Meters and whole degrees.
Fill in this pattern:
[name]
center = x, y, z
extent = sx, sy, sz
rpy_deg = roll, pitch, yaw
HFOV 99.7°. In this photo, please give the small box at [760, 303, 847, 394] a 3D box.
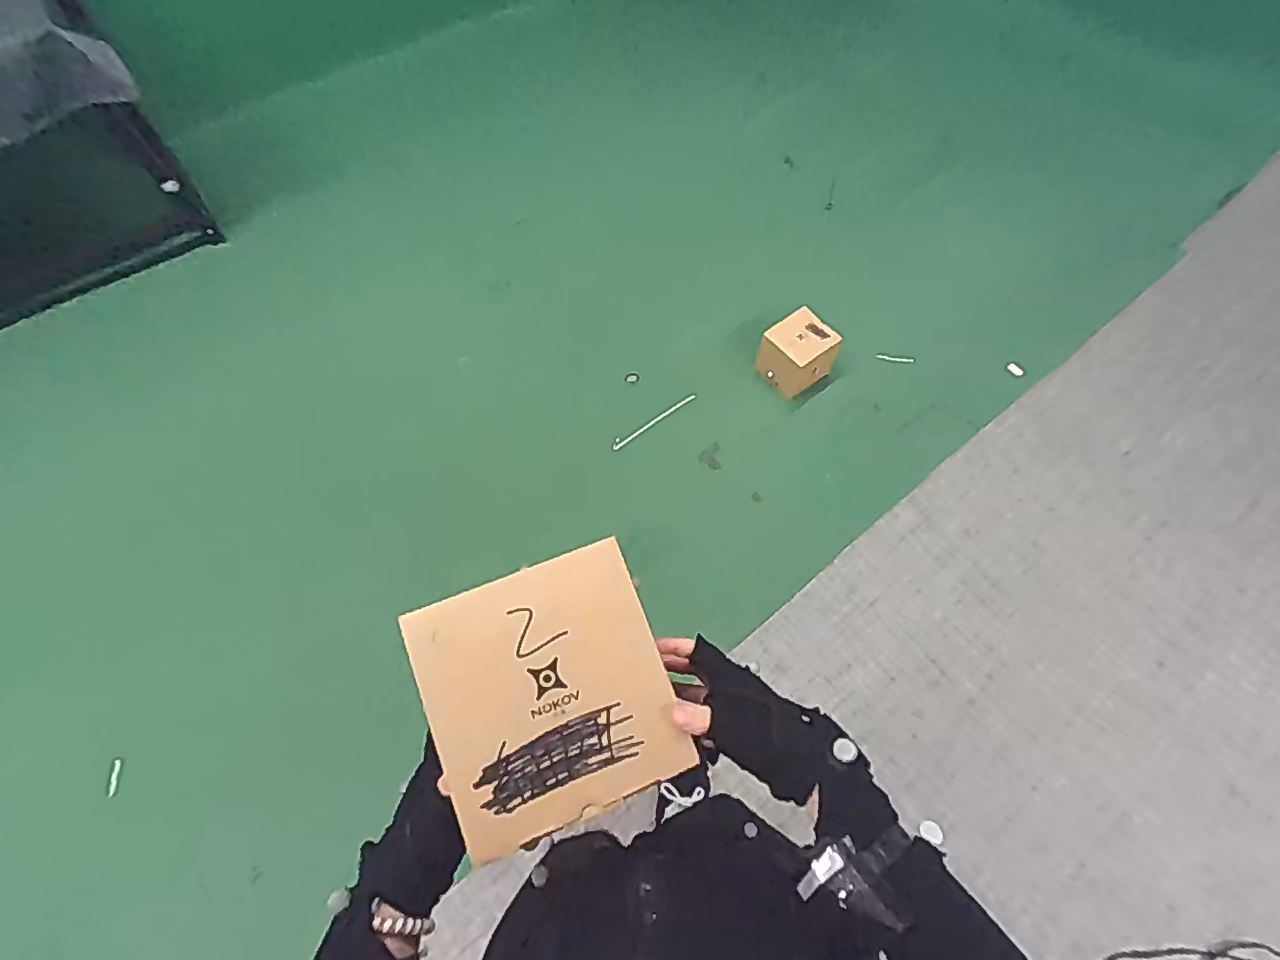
[small box]
center = 0.492, -0.400, 1.660
extent = 0.179, 0.176, 0.168
rpy_deg = -35, 68, -13
